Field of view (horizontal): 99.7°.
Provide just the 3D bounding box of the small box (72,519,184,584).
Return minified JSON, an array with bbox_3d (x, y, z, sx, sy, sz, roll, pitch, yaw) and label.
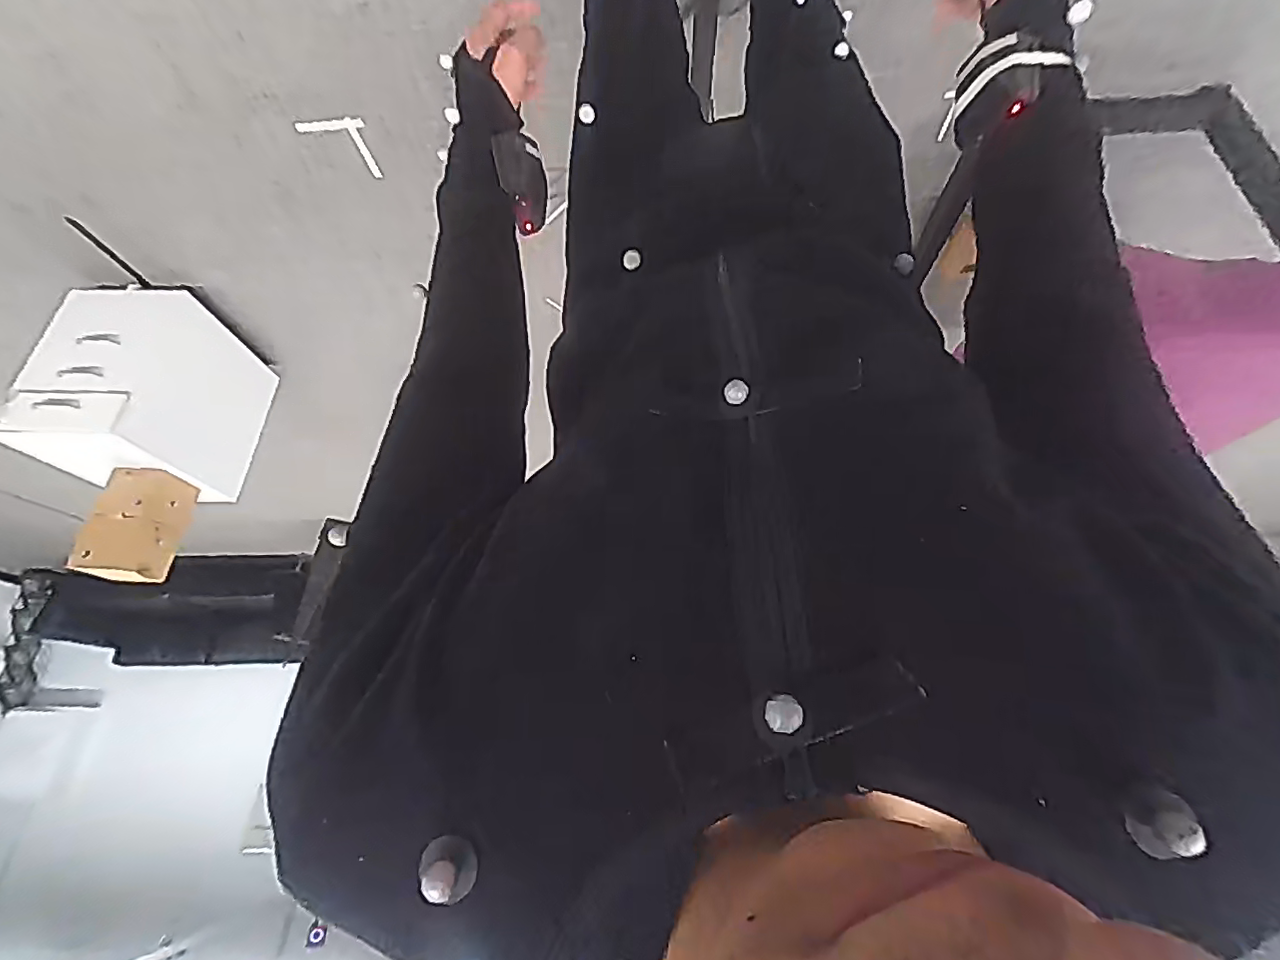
[{"bbox_3d":[-1.640,0.229,1.747,0.179,0.176,0.168,2,156,0],"label":"small box"}]
